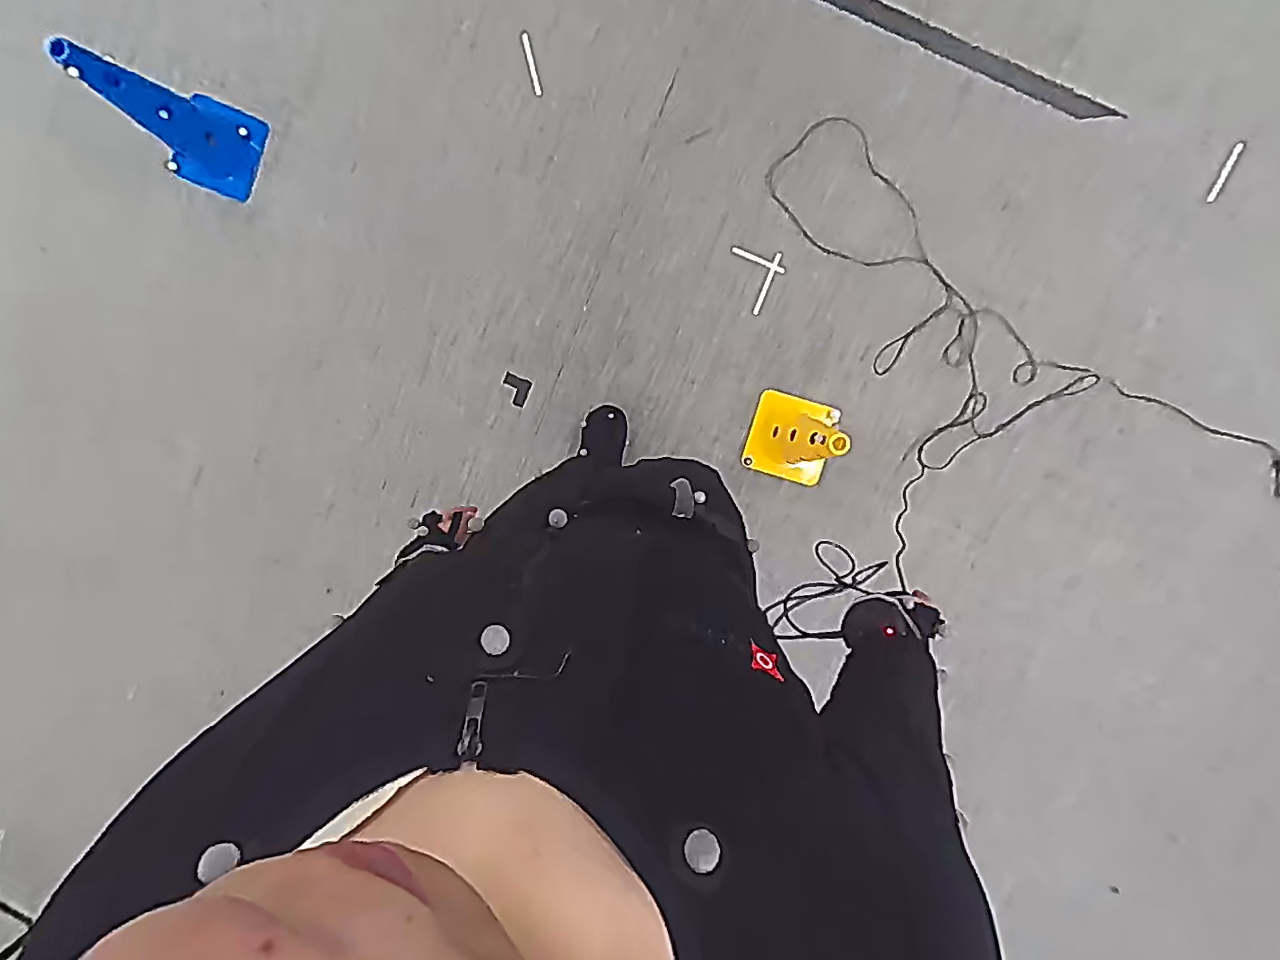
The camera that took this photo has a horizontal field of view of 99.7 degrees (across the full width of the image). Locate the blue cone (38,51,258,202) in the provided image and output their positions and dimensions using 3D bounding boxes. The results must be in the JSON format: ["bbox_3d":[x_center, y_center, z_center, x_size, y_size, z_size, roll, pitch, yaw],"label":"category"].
[{"bbox_3d":[-1.017,-0.759,1.119,0.193,0.380,0.192,24,98,-1],"label":"blue cone"}]
